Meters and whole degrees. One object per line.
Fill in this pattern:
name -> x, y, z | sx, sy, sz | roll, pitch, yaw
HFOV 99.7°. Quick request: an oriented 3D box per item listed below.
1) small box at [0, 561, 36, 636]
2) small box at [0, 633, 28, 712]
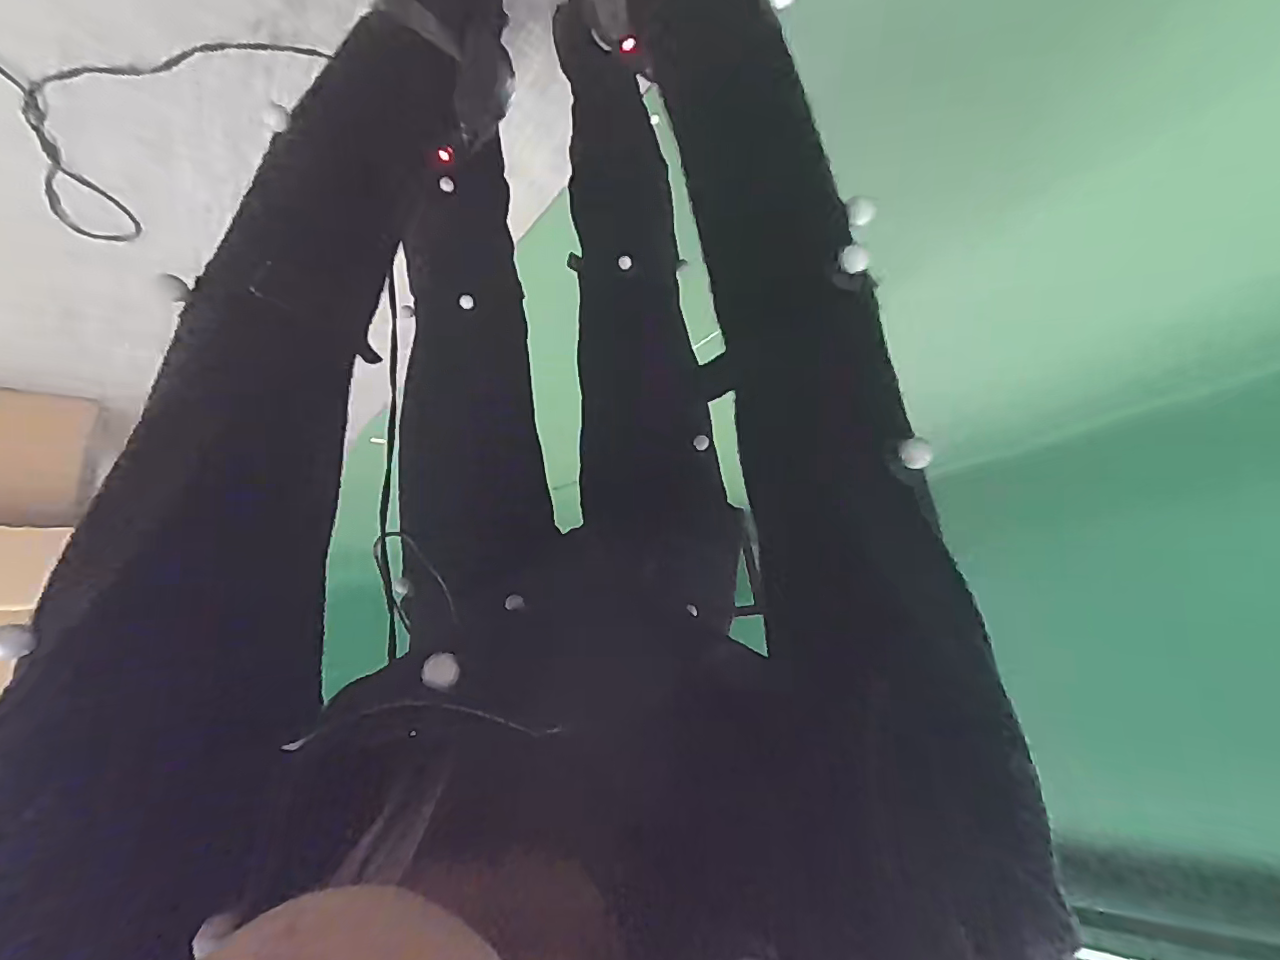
small box -> -1.560, 0.289, 1.270 | 0.168, 0.176, 0.179 | 7, 156, -43
small box -> -1.529, 0.443, 1.222 | 0.168, 0.176, 0.179 | 6, 155, -40
